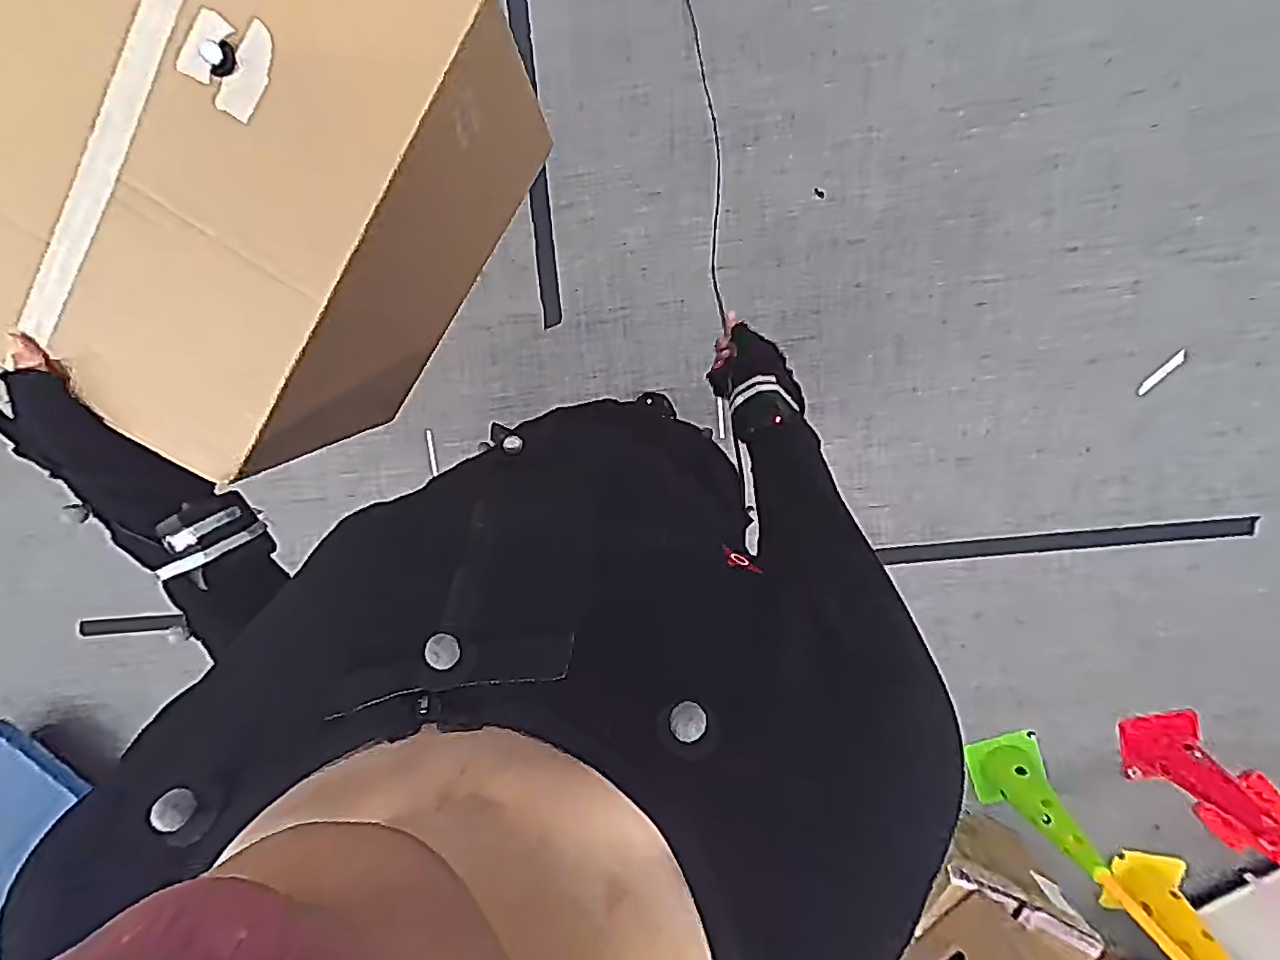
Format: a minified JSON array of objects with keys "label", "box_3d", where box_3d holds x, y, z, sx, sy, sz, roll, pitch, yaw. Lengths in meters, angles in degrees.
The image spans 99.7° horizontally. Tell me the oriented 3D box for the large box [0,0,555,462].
[{"label":"large box","box_3d":[-0.329,-0.285,0.512,0.320,0.320,0.408,33,101,-9]}]
